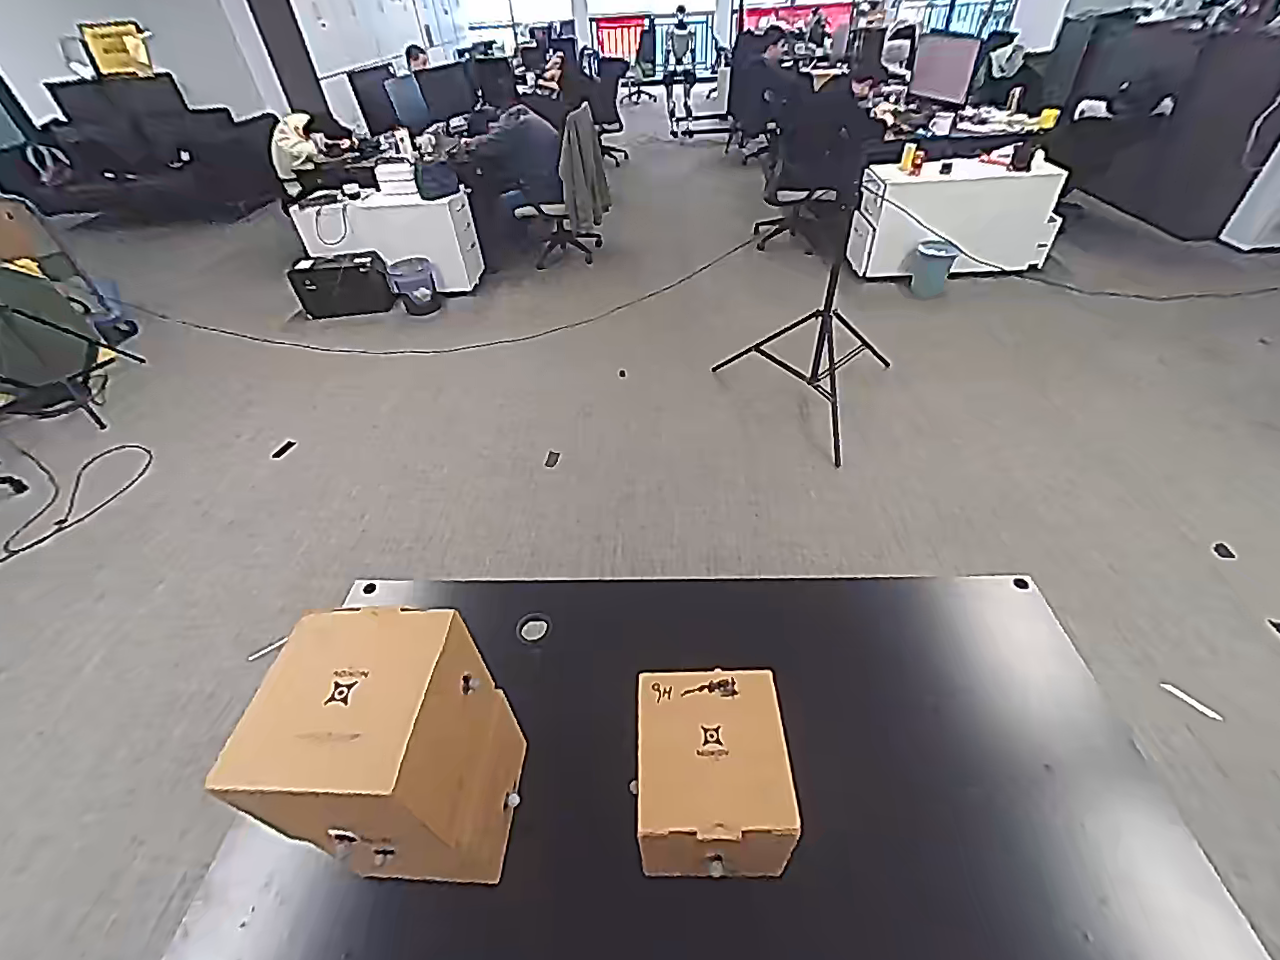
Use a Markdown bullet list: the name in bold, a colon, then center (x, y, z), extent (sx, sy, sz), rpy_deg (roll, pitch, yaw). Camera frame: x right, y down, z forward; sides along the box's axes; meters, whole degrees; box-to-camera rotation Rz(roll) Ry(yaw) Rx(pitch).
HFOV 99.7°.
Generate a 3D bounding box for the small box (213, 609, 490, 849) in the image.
- **small box**: center (-0.267, 0.253, 0.557), extent (0.168, 0.176, 0.179), rpy_deg (-2, 43, 4)

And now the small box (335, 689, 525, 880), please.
- **small box**: center (-0.256, 0.372, 0.666), extent (0.179, 0.176, 0.168), rpy_deg (0, 42, 4)

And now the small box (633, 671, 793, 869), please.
- **small box**: center (0.082, 0.356, 0.660), extent (0.168, 0.176, 0.179), rpy_deg (-2, 42, 3)
